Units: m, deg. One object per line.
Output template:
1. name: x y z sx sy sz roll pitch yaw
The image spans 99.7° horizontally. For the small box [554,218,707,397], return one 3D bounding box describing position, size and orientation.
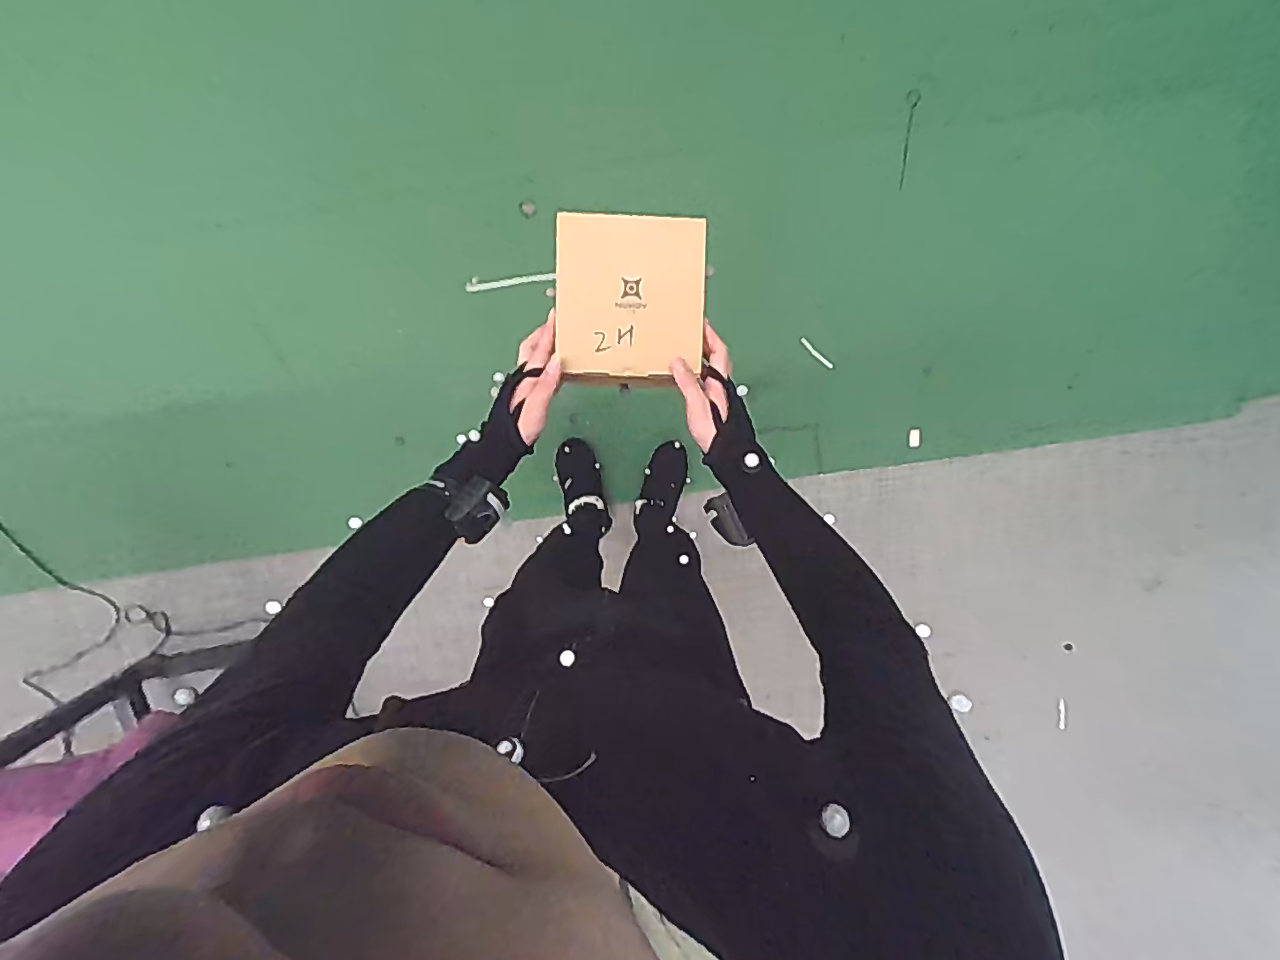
1. small box: -0.015 -0.199 0.669 0.168 0.176 0.179 1 95 -3
